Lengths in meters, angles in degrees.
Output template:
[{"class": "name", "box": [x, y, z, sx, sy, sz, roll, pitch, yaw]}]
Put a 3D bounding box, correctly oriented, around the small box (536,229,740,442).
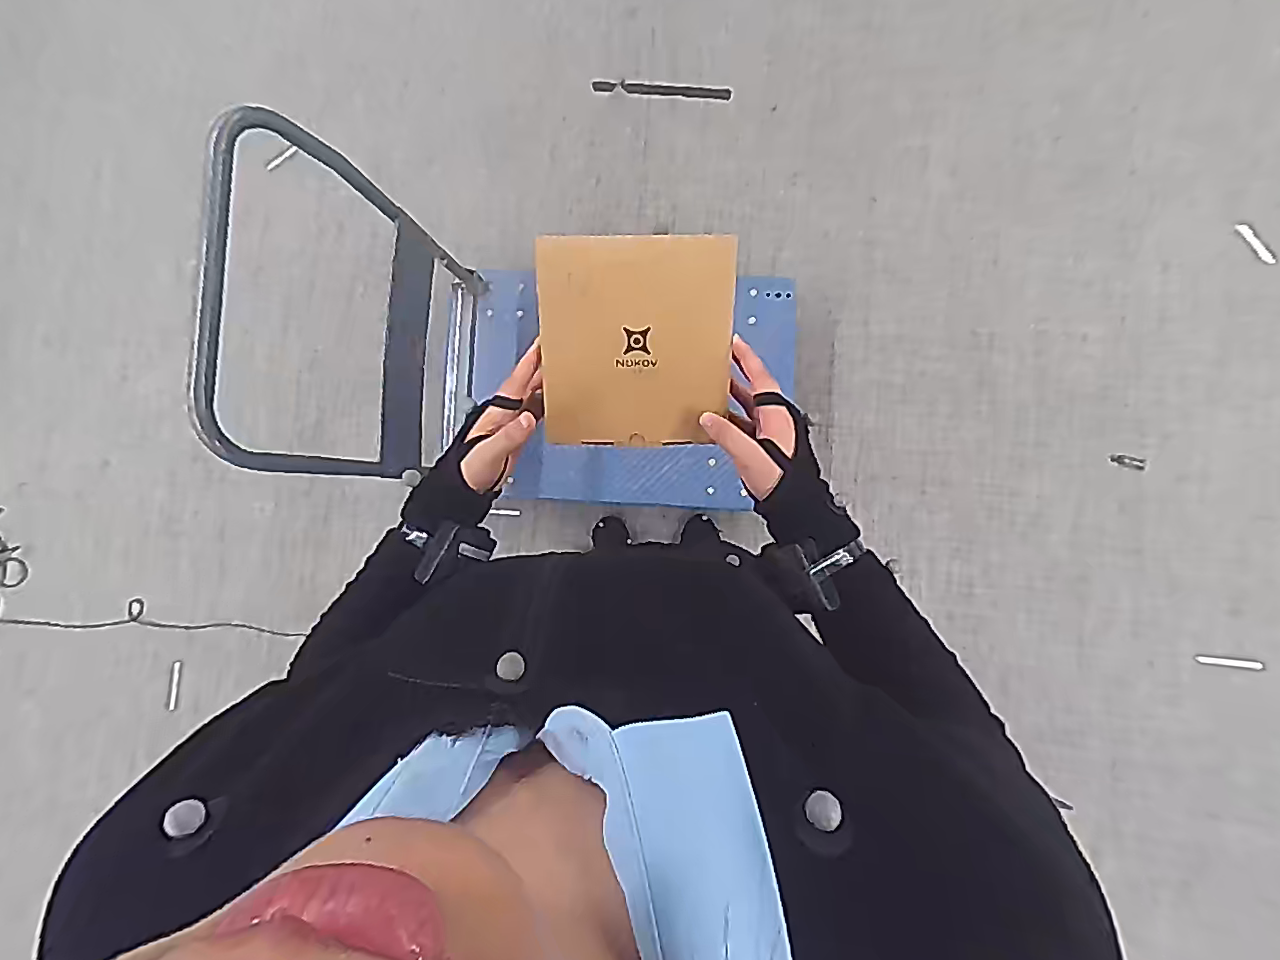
[{"class": "small box", "box": [-0.003, -0.144, 0.530, 0.168, 0.176, 0.179, 0, 112, 0]}]
